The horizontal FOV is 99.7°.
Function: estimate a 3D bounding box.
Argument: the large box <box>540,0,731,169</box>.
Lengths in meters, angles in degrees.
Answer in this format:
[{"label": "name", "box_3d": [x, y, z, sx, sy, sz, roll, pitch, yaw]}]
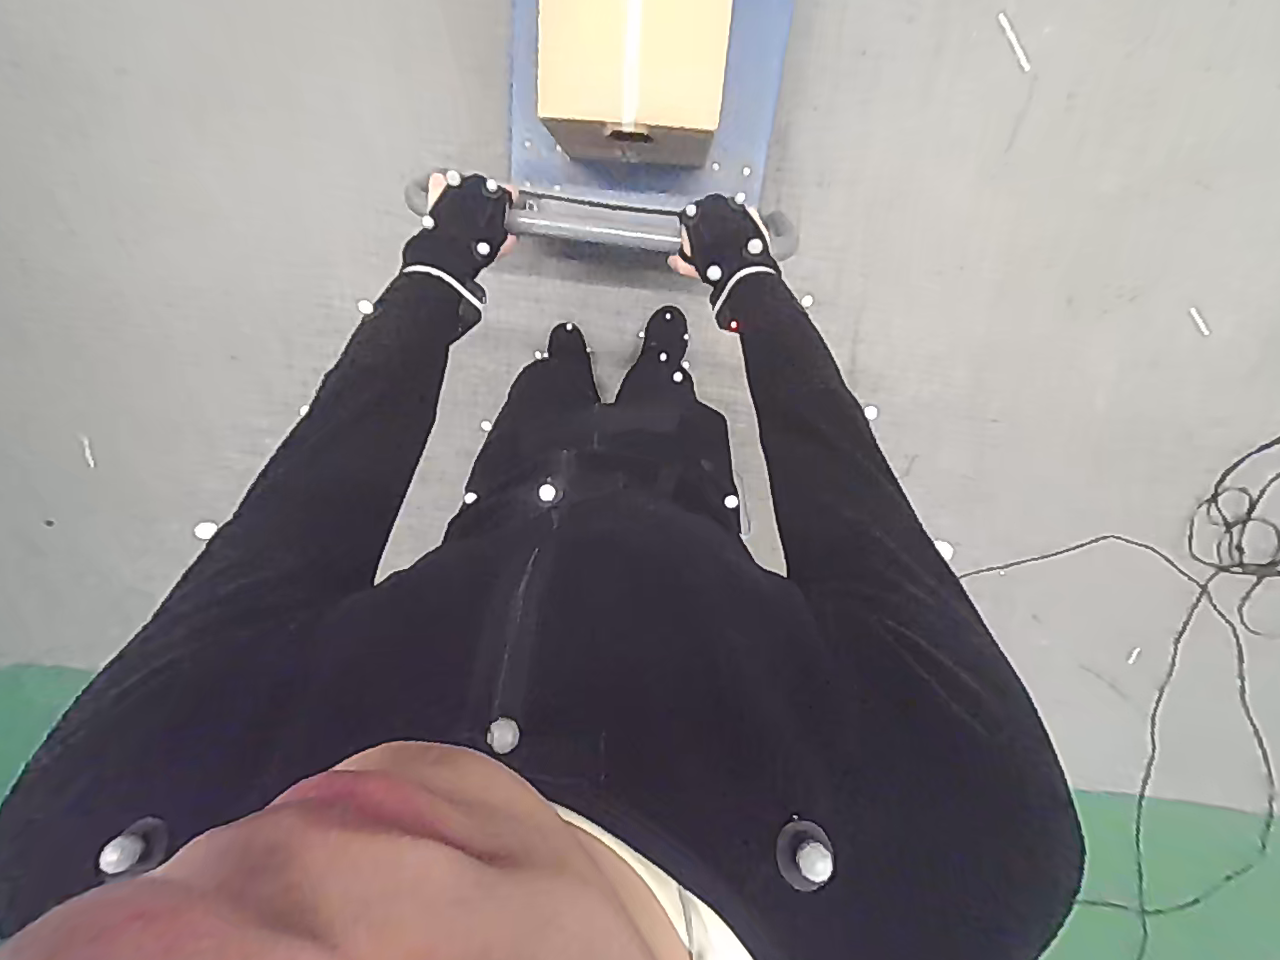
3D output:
[{"label": "large box", "box_3d": [0.002, -0.841, 1.010, 0.320, 0.320, 0.408, 5, 110, 1]}]
